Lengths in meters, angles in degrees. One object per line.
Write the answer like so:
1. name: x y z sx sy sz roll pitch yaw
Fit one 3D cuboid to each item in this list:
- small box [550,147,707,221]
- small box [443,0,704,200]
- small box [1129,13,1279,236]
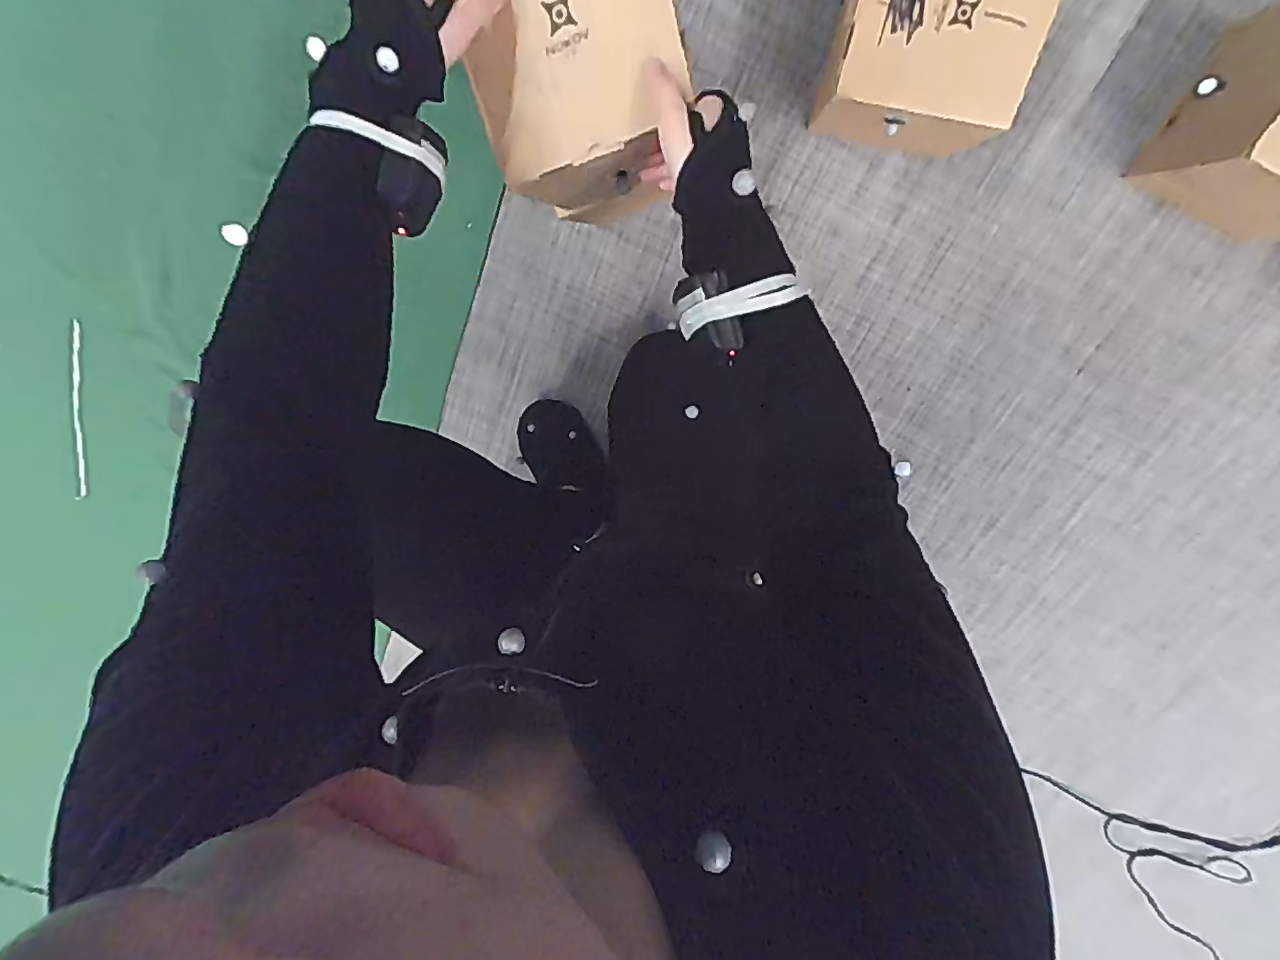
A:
1. small box: -0.025 -0.419 0.637 0.179 0.176 0.168 -14 110 13
2. small box: -0.044 -0.363 0.477 0.168 0.176 0.179 -12 109 15
3. small box: 0.684 -0.364 0.553 0.179 0.176 0.168 25 114 -3
